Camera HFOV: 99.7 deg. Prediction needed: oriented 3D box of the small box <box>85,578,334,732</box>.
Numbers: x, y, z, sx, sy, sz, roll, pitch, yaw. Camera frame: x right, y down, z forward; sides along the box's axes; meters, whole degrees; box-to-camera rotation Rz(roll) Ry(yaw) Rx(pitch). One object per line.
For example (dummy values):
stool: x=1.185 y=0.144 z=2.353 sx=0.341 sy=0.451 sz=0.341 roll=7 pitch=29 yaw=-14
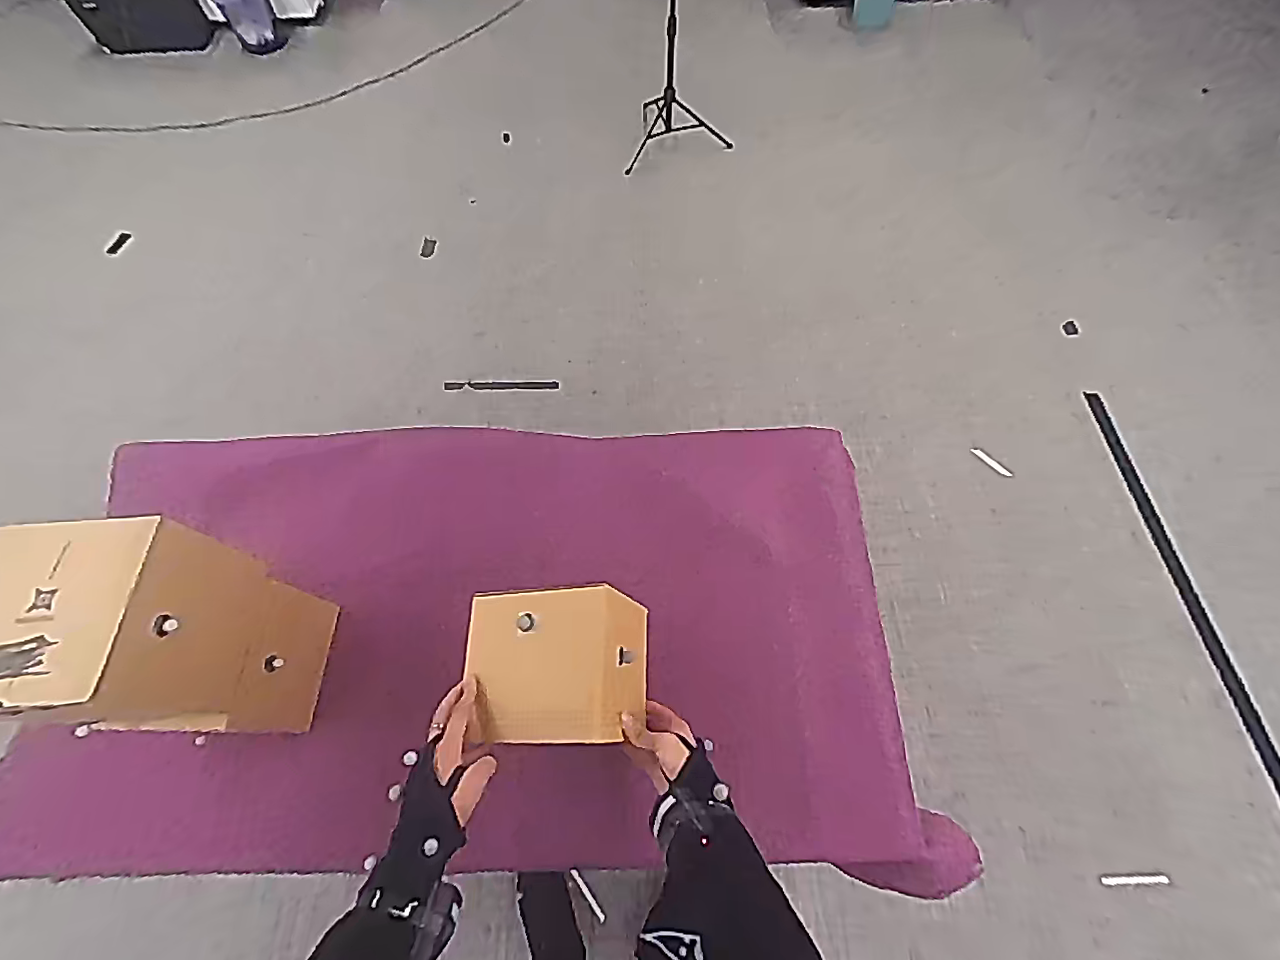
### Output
small box: x=-0.537 y=0.232 z=0.709 sx=0.168 sy=0.176 sz=0.179 roll=1 pitch=64 yaw=1

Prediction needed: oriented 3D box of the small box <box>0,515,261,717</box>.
small box: x=-0.543 y=0.150 z=0.567 sx=0.168 sy=0.176 sz=0.179 roll=-3 pitch=63 yaw=-1

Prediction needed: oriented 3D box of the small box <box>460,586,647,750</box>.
small box: x=-0.097 y=0.235 z=0.671 sx=0.179 sy=0.168 sz=0.176 roll=-8 pitch=65 yaw=17
